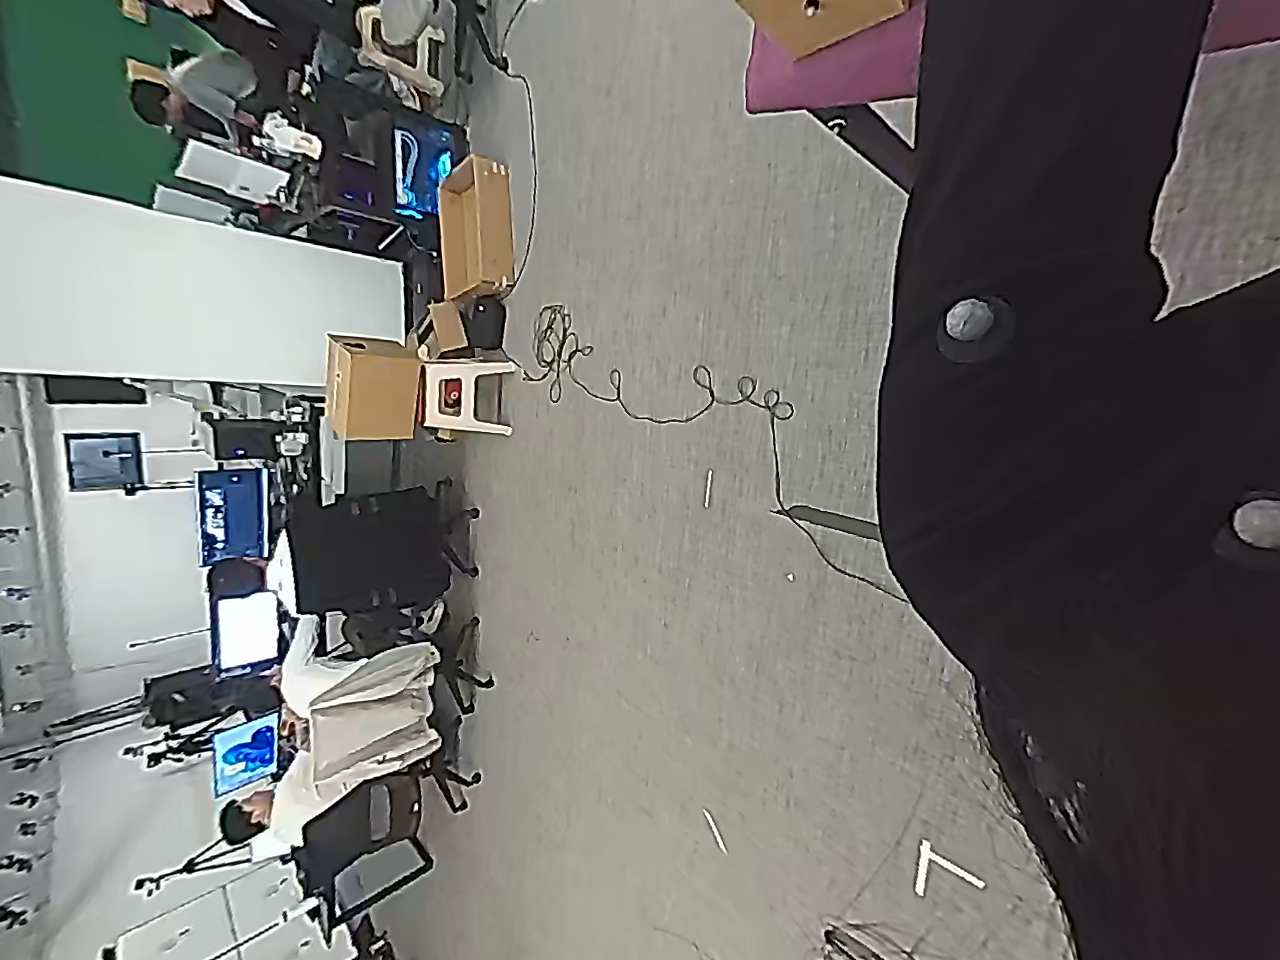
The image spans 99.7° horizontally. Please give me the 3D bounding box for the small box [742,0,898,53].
[{"bbox_3d":[0.251,-0.723,0.713,0.179,0.176,0.168,8,99,44],"label":"small box"}]
